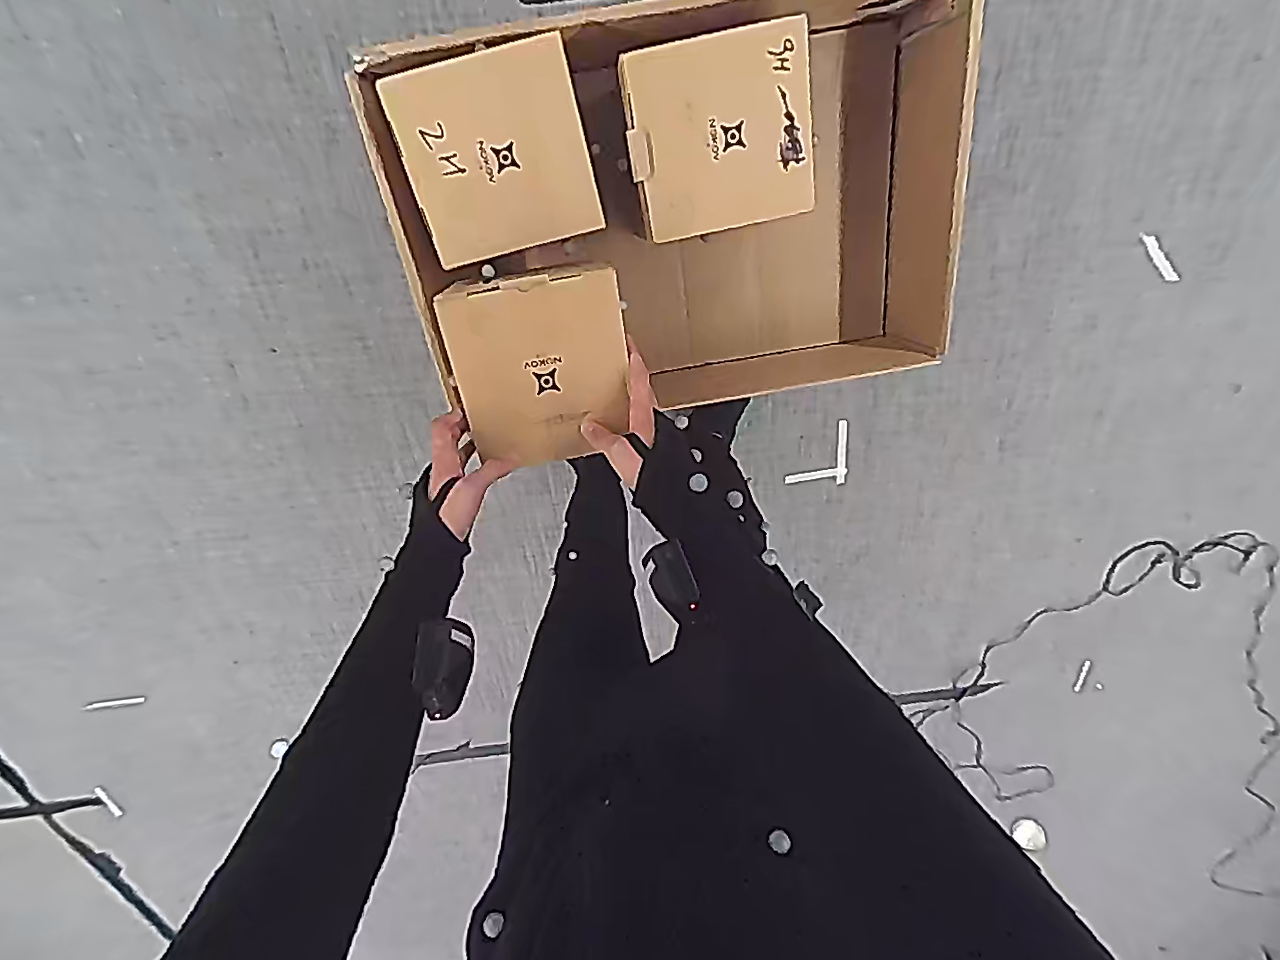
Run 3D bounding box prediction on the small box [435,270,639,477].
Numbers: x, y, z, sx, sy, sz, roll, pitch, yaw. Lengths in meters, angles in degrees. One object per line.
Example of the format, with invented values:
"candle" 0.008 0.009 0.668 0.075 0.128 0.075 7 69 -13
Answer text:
"small box" -0.105 -0.127 0.587 0.168 0.176 0.179 -12 115 -5
